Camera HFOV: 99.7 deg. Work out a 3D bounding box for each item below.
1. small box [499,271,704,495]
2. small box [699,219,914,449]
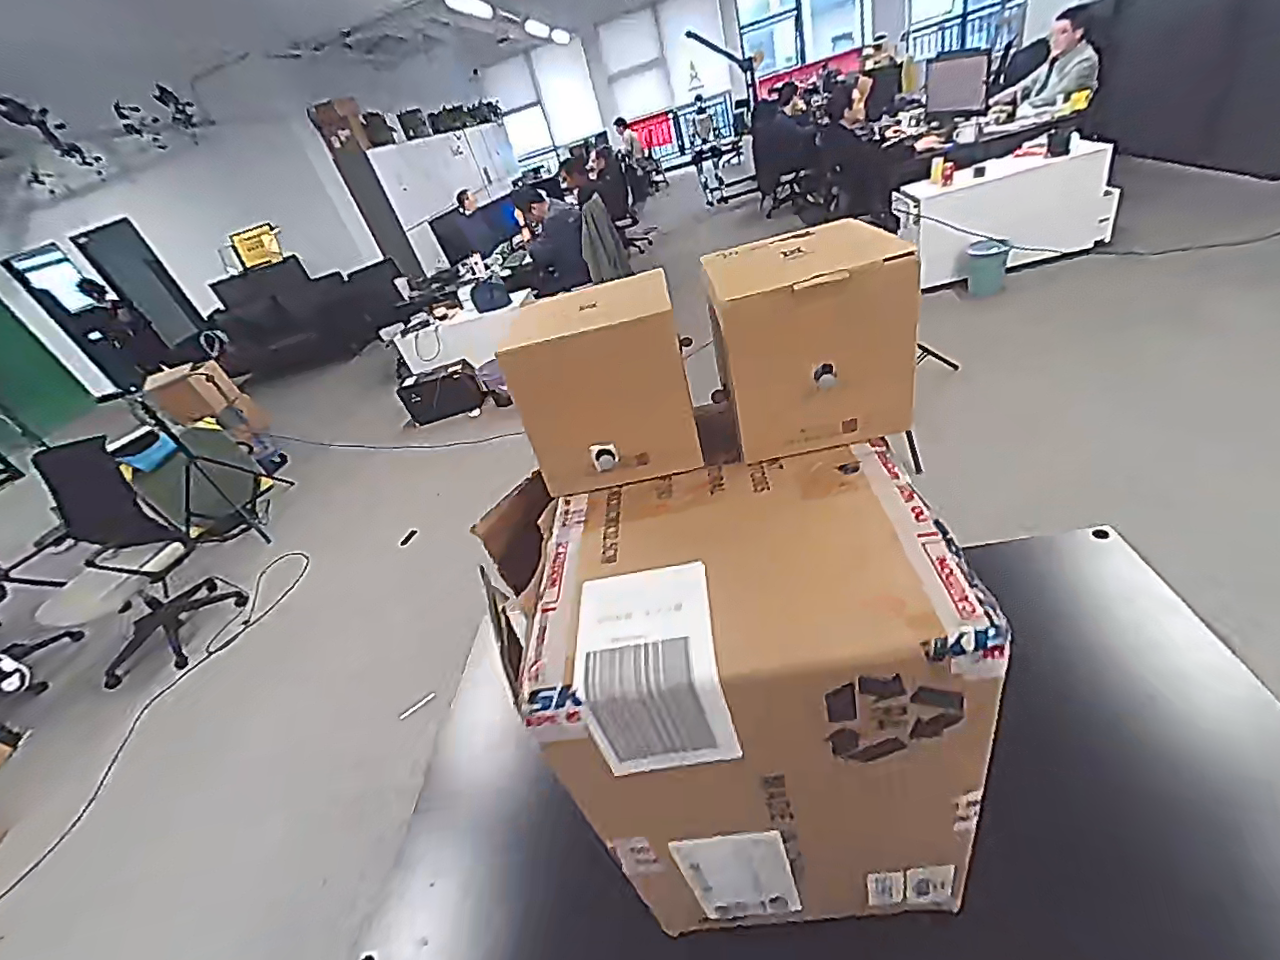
[{"bbox_3d":[-0.032,-0.108,0.591,0.168,0.176,0.179,-13,32,7],"label":"small box"},{"bbox_3d":[0.161,-0.145,0.556,0.168,0.176,0.179,-11,34,7],"label":"small box"}]
